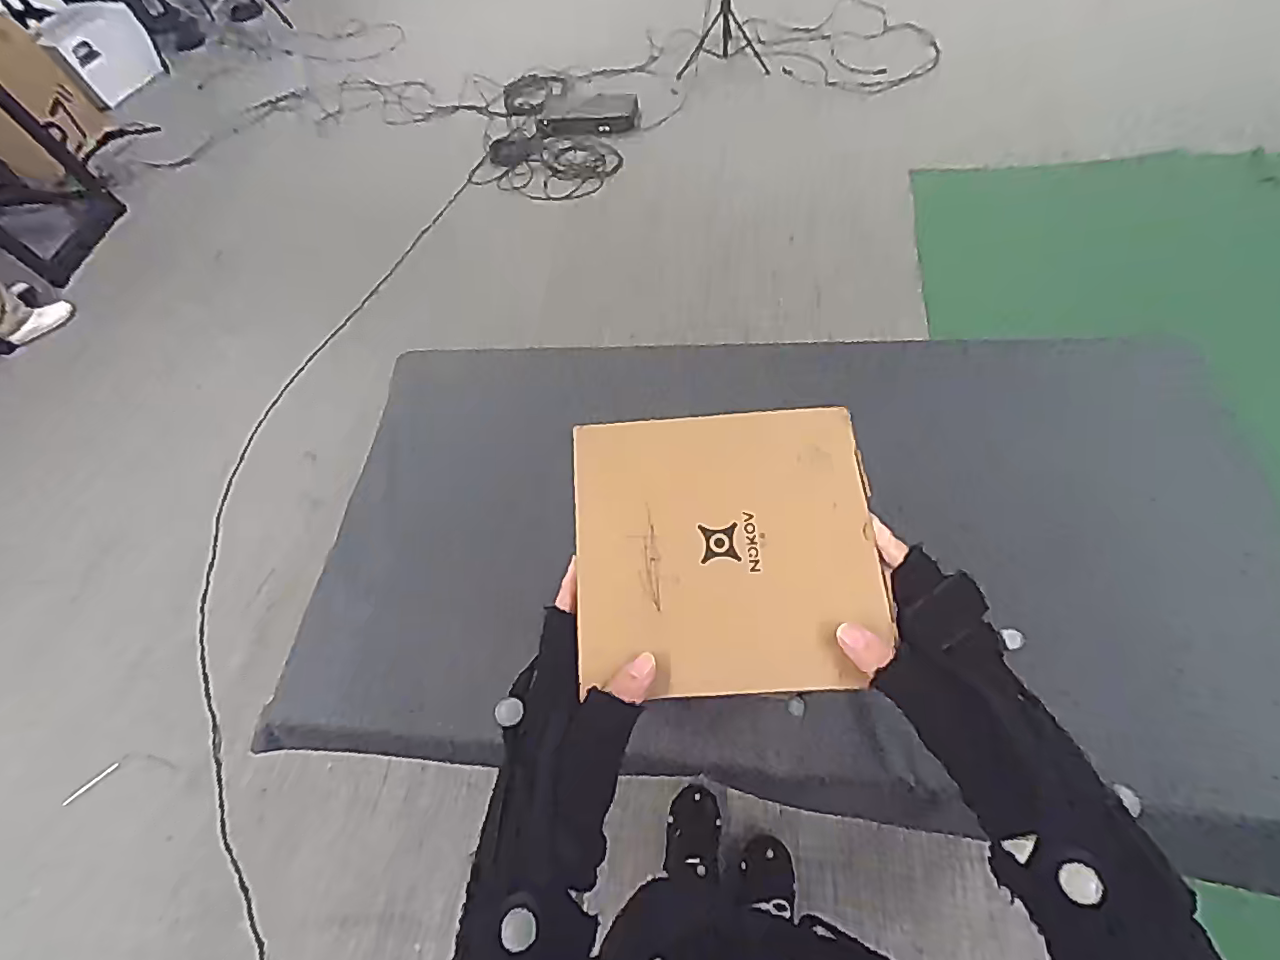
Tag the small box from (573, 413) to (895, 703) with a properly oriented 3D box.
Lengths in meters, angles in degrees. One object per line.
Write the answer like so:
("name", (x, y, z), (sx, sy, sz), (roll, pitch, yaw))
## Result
("small box", (0.052, 0.068, 0.396), (0.179, 0.176, 0.168), (-6, 67, 2))
